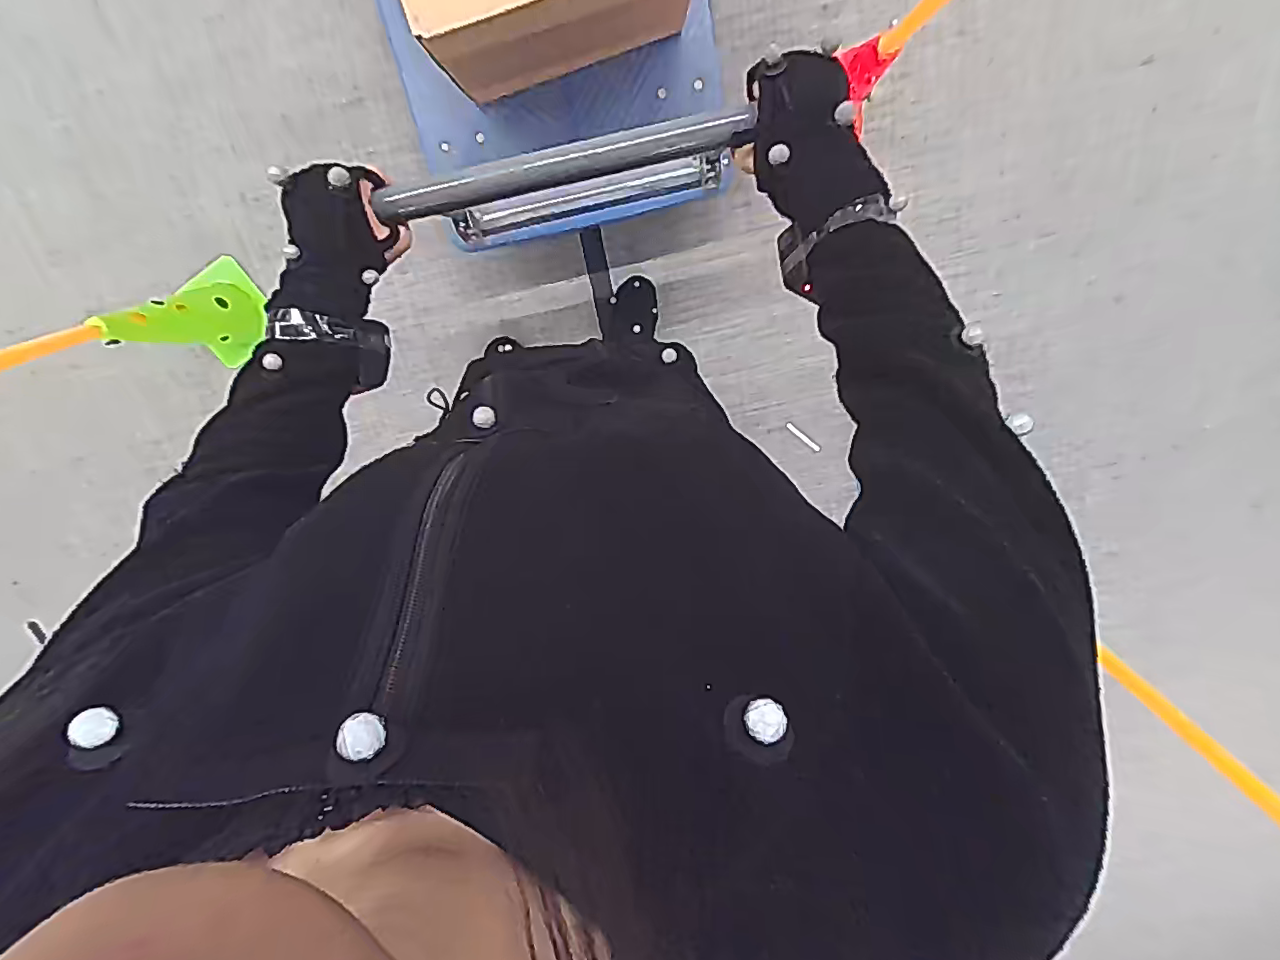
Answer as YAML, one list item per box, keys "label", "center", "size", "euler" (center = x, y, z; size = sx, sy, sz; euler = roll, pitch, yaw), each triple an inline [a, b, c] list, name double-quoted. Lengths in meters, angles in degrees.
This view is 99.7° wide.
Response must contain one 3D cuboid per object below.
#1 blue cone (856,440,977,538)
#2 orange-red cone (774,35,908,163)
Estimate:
- label: "blue cone"
  center: [0.704, 0.054, 1.335]
  size: [0.193, 0.380, 0.192]
  euler: [-15, 109, 4]
- label: "orange-red cone"
  center: [0.397, -0.739, 1.007]
  size: [0.199, 0.360, 0.198]
  euler: [-6, 112, -1]
